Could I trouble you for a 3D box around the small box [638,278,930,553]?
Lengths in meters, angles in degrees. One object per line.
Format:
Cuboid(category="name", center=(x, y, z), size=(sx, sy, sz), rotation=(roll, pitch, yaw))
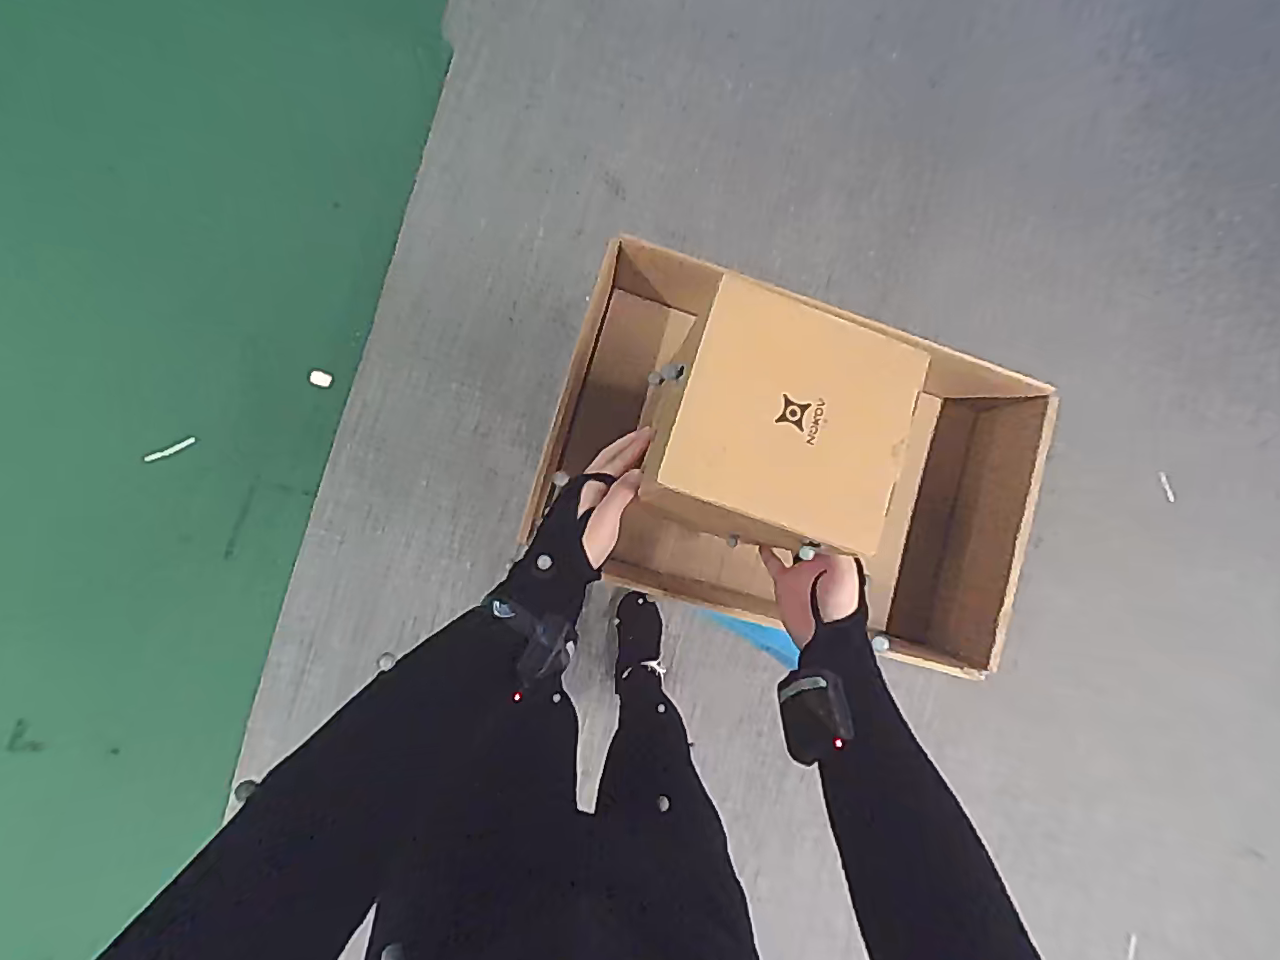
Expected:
Cuboid(category="small box", center=(0.107, -0.039, 0.473), size=(0.179, 0.176, 0.168), rotation=(18, 82, -6))
